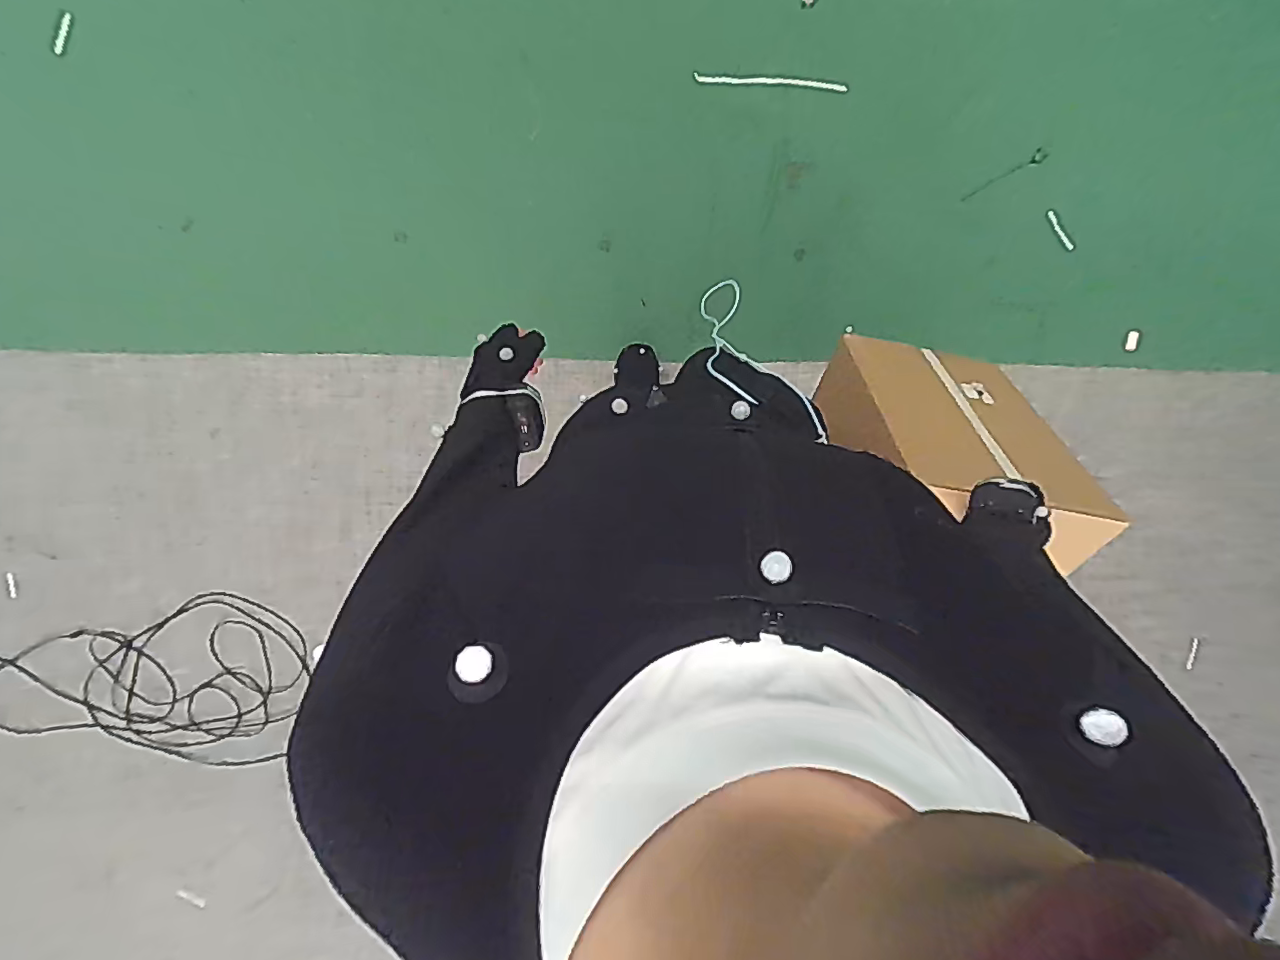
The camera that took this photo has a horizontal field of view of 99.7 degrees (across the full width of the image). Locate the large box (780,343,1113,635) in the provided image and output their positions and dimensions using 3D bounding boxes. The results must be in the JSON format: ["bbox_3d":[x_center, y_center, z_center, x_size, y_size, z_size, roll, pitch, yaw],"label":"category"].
[{"bbox_3d":[0.476,0.011,0.963,0.320,0.408,0.320,10,132,-6],"label":"large box"}]
